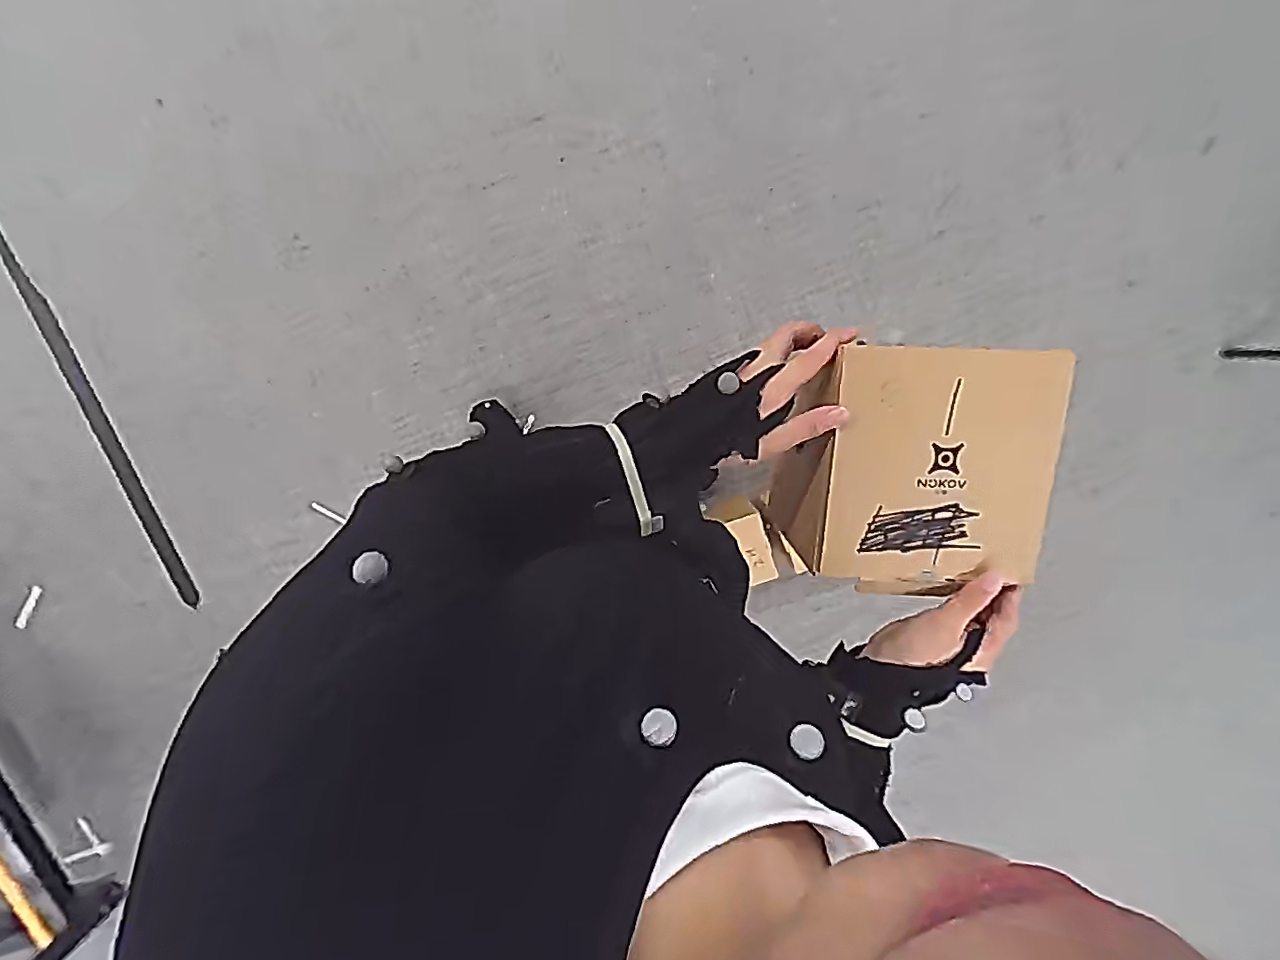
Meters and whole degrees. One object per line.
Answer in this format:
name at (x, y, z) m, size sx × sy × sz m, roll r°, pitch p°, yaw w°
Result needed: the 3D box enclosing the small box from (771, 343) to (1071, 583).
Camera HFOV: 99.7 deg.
small box at (0.217, -0.026, 0.474) m, size 0.168 × 0.176 × 0.179 m, roll 2°, pitch 102°, yaw 0°
